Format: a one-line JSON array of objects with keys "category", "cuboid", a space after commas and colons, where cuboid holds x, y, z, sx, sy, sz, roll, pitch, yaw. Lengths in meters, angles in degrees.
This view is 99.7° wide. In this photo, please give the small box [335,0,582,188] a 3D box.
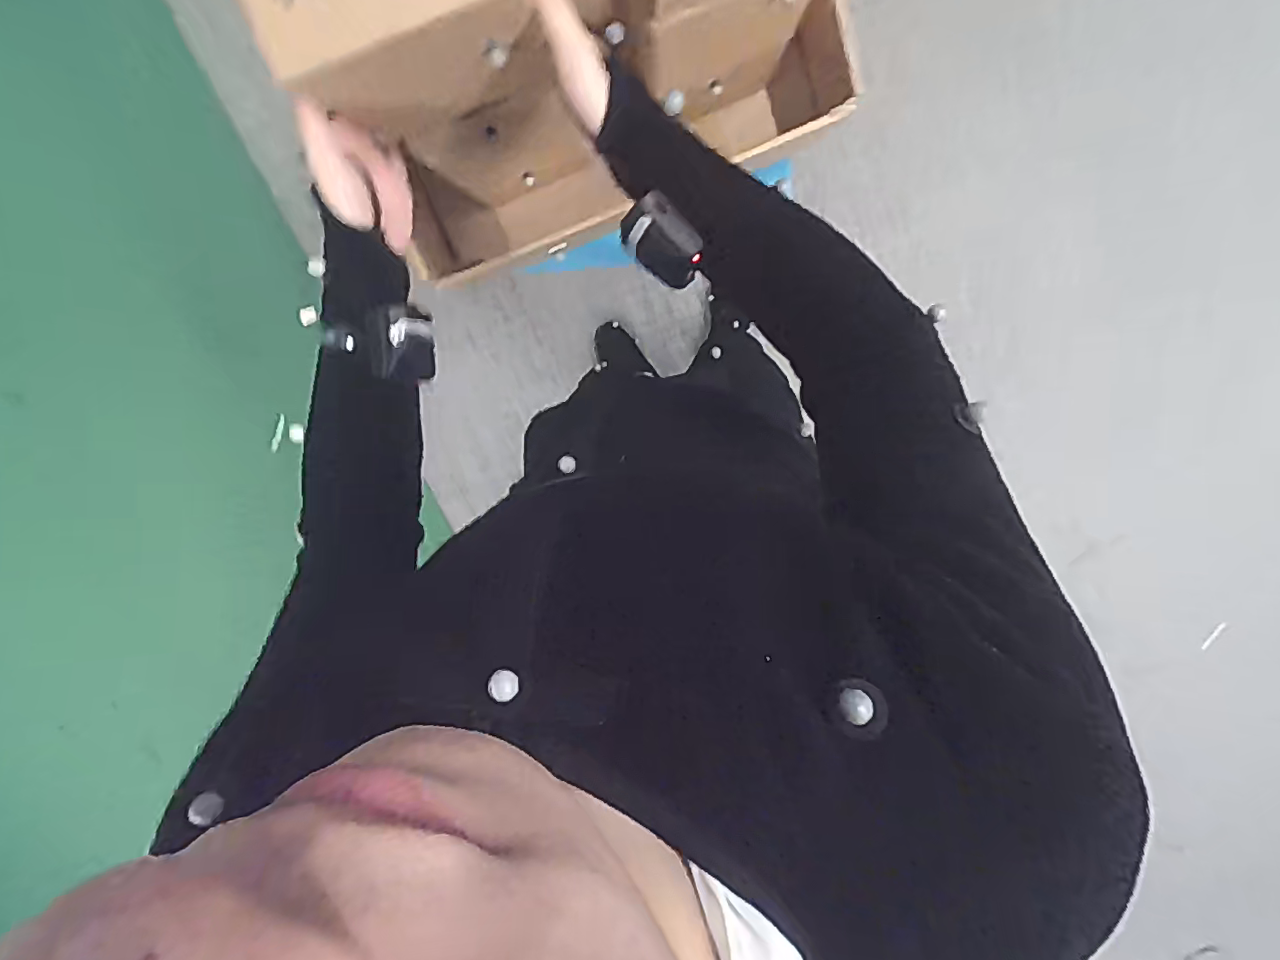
[{"category": "small box", "cuboid": [-0.175, -0.437, 0.570, 0.179, 0.176, 0.168, -21, 106, 6]}]
